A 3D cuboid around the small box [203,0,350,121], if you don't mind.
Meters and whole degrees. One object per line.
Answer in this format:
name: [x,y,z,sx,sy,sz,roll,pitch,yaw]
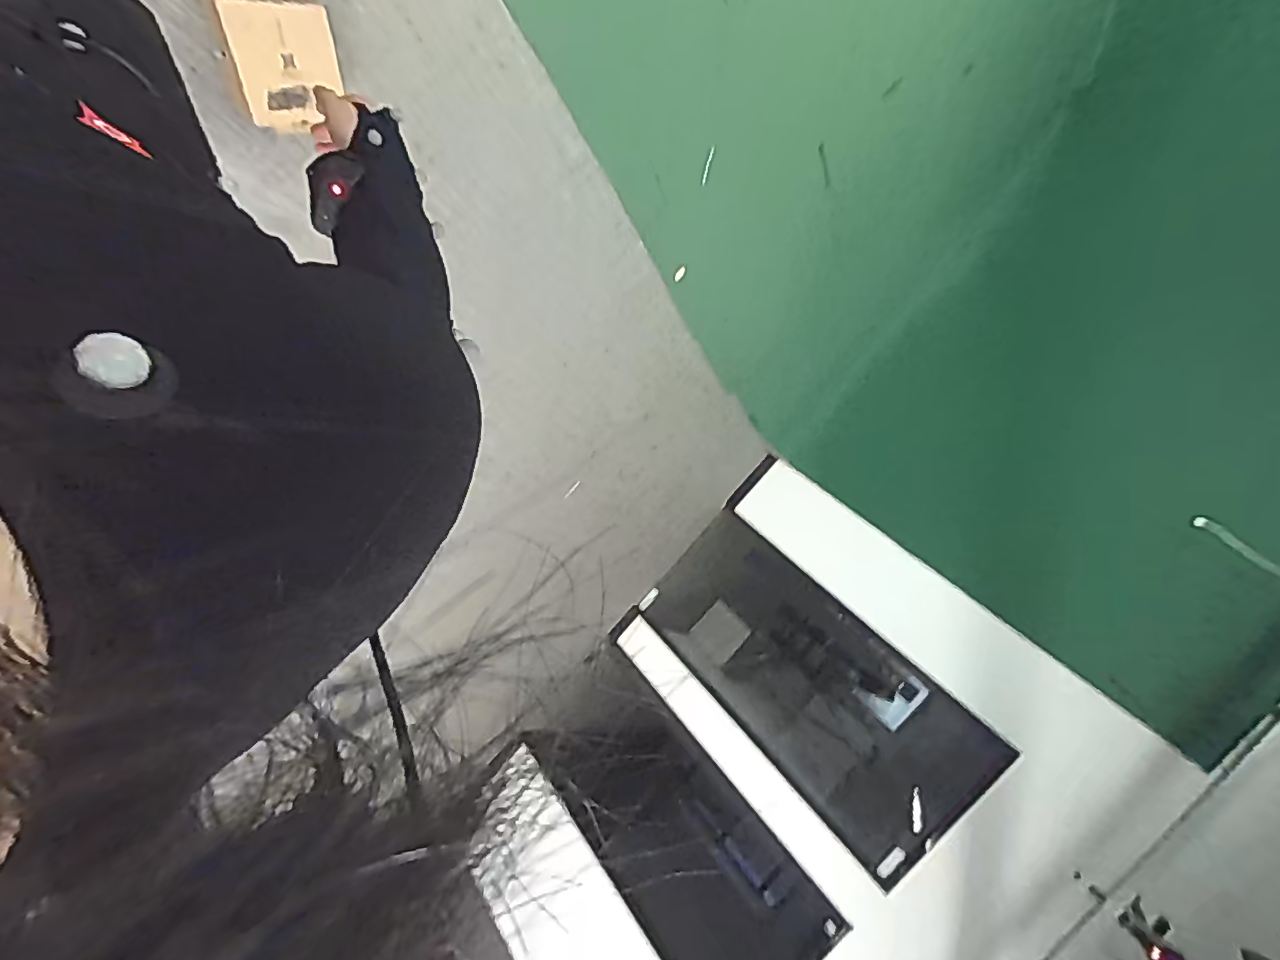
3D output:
small box: [-0.659,-0.778,0.984,0.168,0.176,0.179,-25,143,-31]
